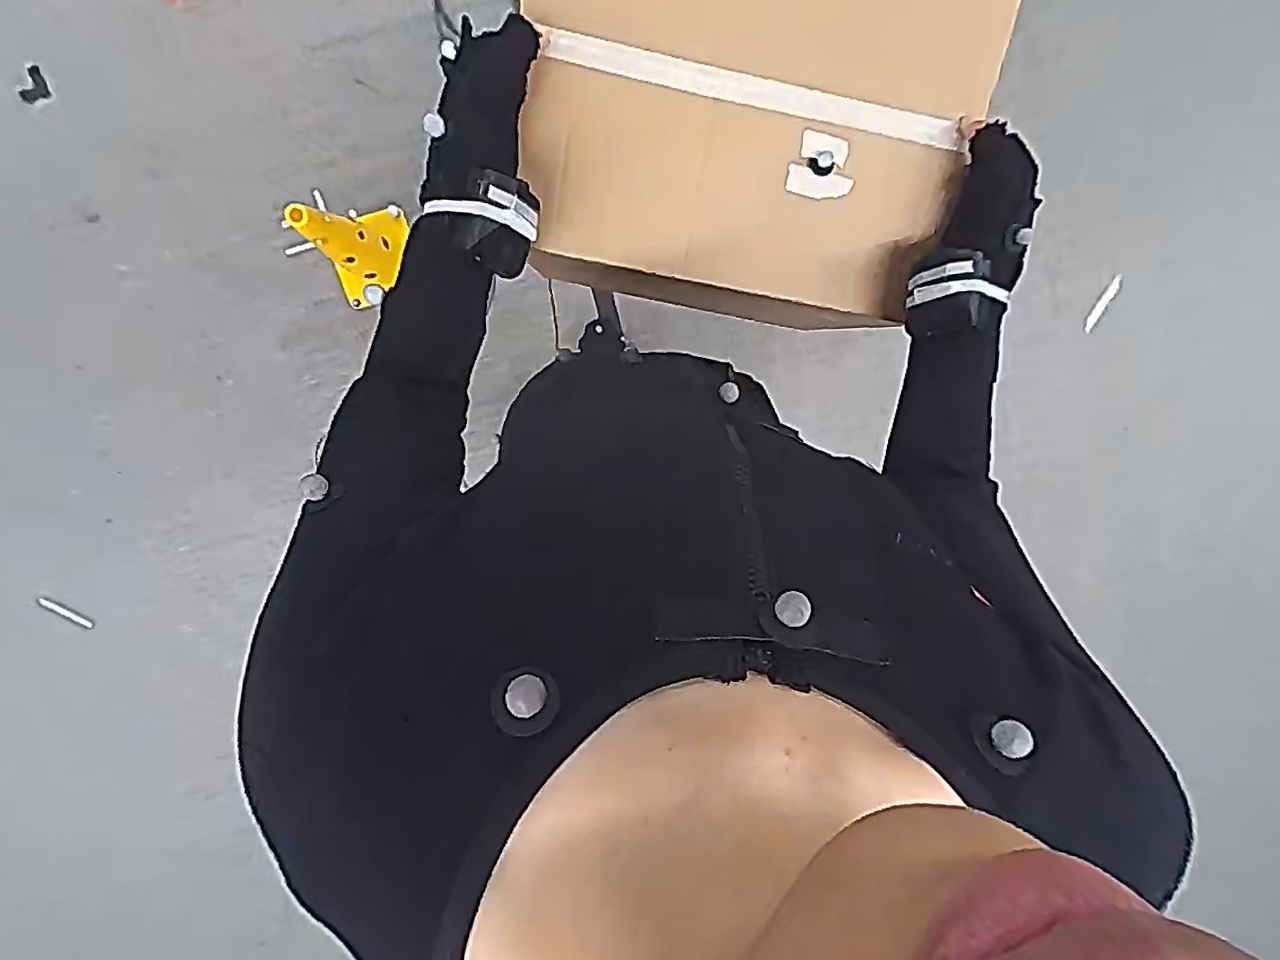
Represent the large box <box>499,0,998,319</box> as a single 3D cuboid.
[{"bbox_3d":[0.081,-0.373,0.605,0.408,0.320,0.320,8,104,-6],"label":"large box"}]
